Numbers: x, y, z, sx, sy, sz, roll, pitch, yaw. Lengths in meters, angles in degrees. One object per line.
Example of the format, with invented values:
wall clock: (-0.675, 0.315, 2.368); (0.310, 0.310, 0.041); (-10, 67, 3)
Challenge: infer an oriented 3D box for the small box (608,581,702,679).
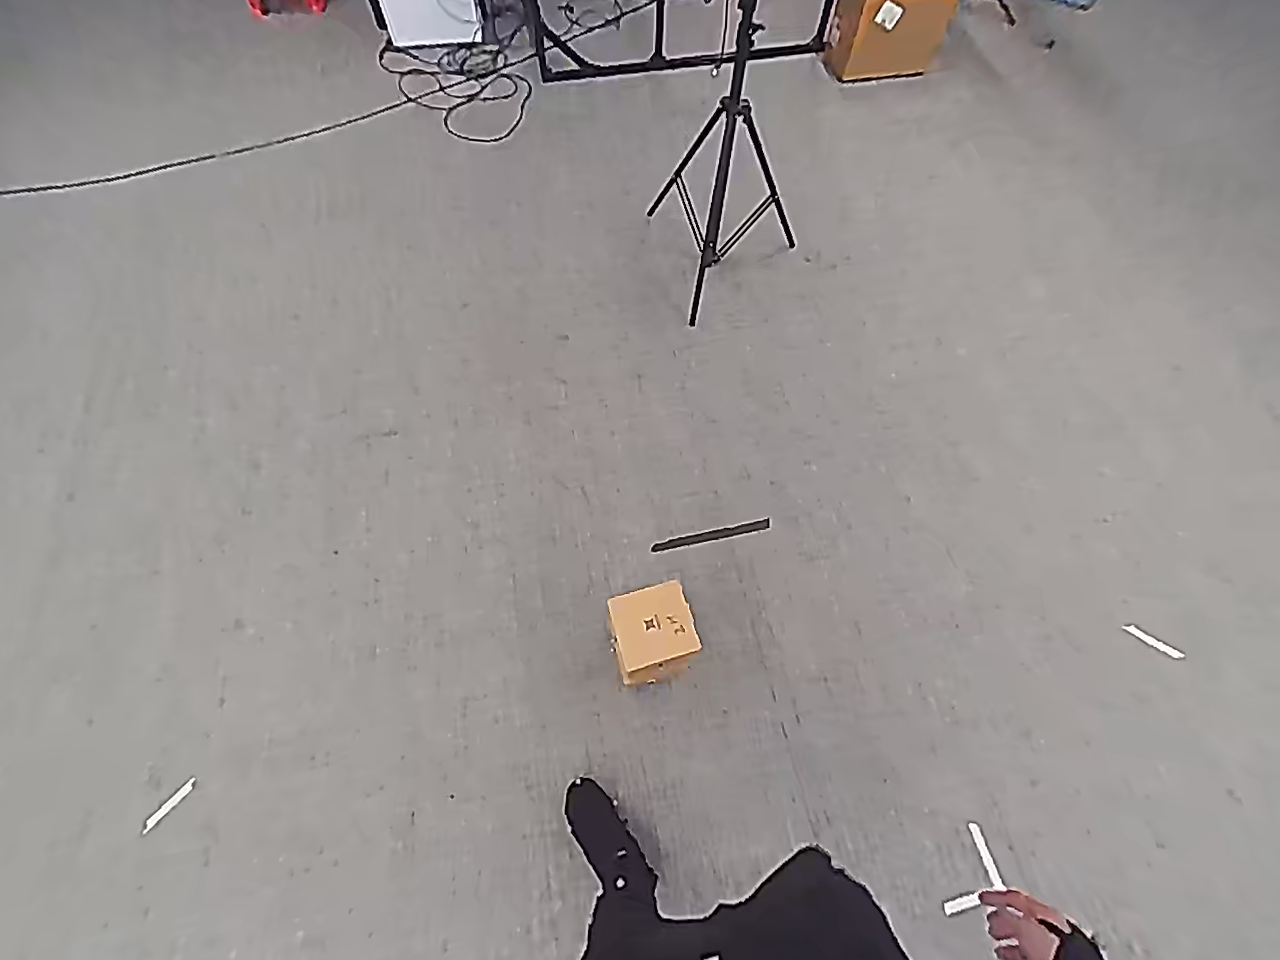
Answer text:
small box: (0.035, 0.357, 1.267); (0.179, 0.176, 0.168); (-15, 65, -6)

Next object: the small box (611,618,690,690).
small box: (0.024, 0.434, 1.412); (0.168, 0.176, 0.179); (-14, 65, -6)
